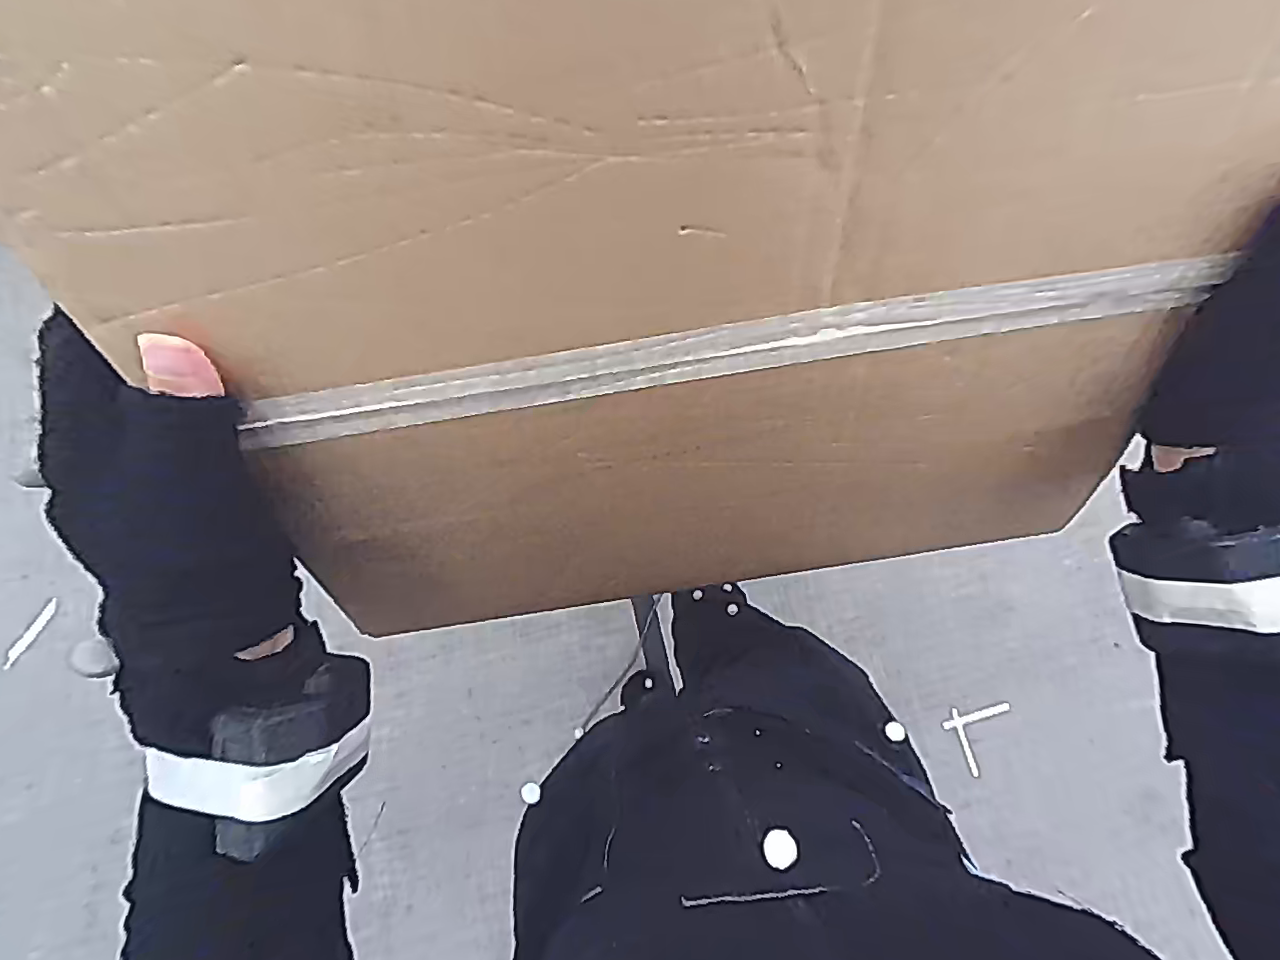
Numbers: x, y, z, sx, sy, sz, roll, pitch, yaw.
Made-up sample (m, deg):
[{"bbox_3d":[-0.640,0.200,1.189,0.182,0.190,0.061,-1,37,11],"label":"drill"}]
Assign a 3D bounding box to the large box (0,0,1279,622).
[{"bbox_3d":[0.016,-0.158,0.319,0.408,0.320,0.320,-9,46,-2],"label":"large box"}]
